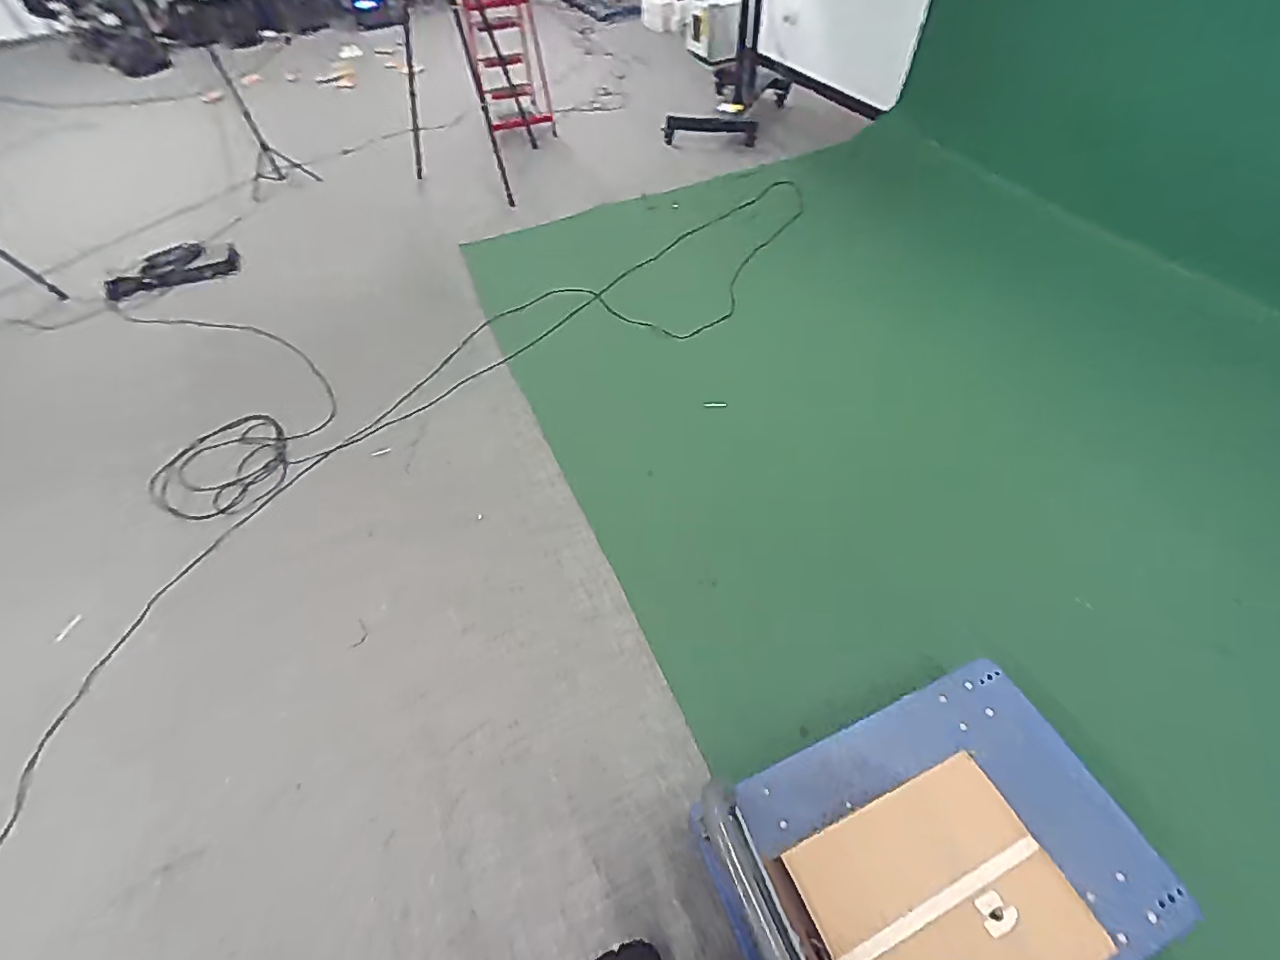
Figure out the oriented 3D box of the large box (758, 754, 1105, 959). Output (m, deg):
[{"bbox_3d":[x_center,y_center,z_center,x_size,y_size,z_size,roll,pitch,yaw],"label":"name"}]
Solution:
[{"bbox_3d":[0.481,0.777,0.987,0.408,0.320,0.320,-20,54,-13],"label":"large box"}]
